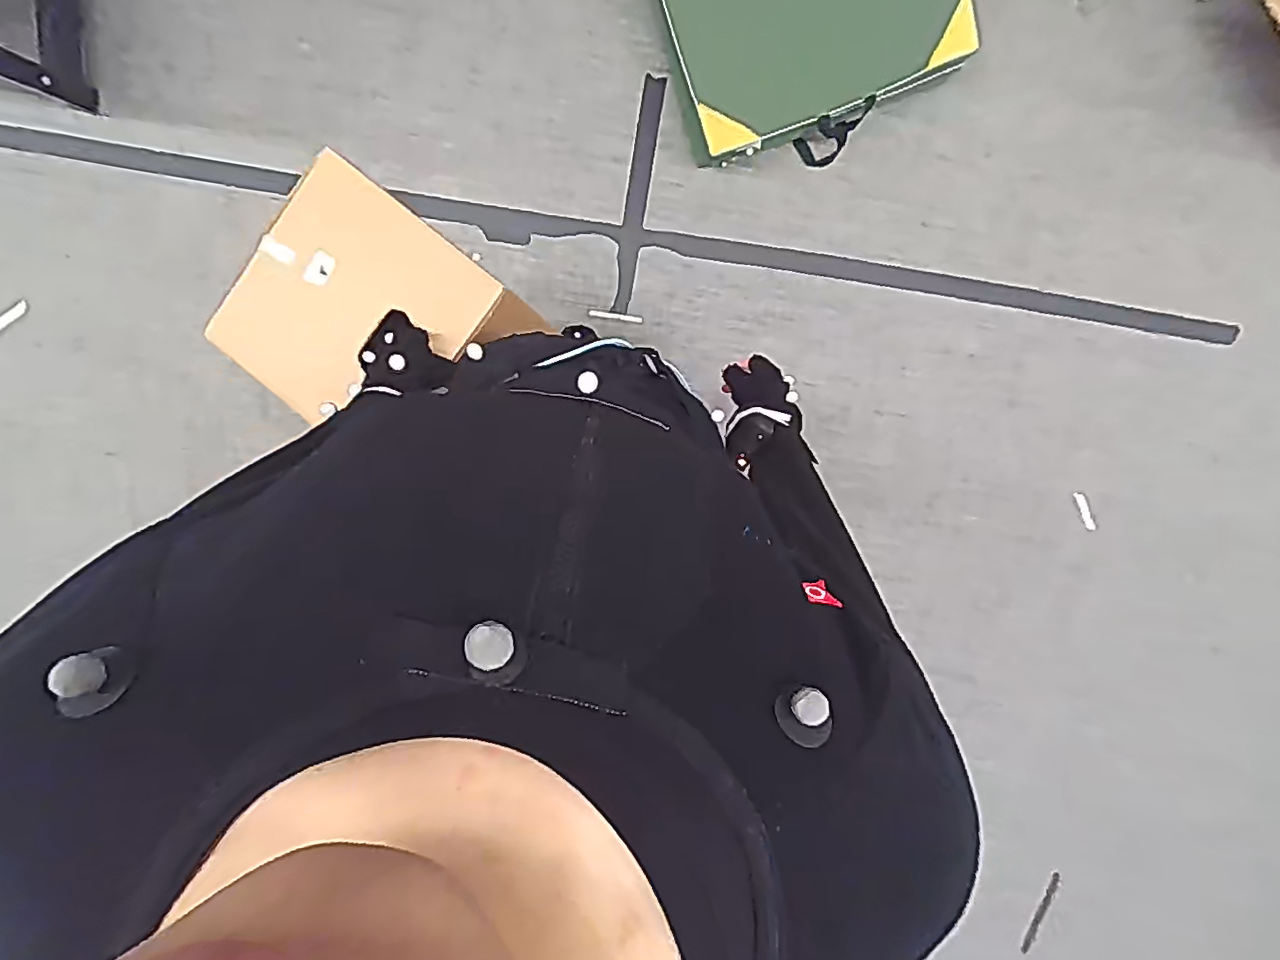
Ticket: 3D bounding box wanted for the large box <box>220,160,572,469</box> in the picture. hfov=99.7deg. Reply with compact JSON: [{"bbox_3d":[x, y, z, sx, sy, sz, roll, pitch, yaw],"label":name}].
[{"bbox_3d":[-0.370,-0.242,0.928,0.320,0.408,0.320,41,97,2],"label":"large box"}]
